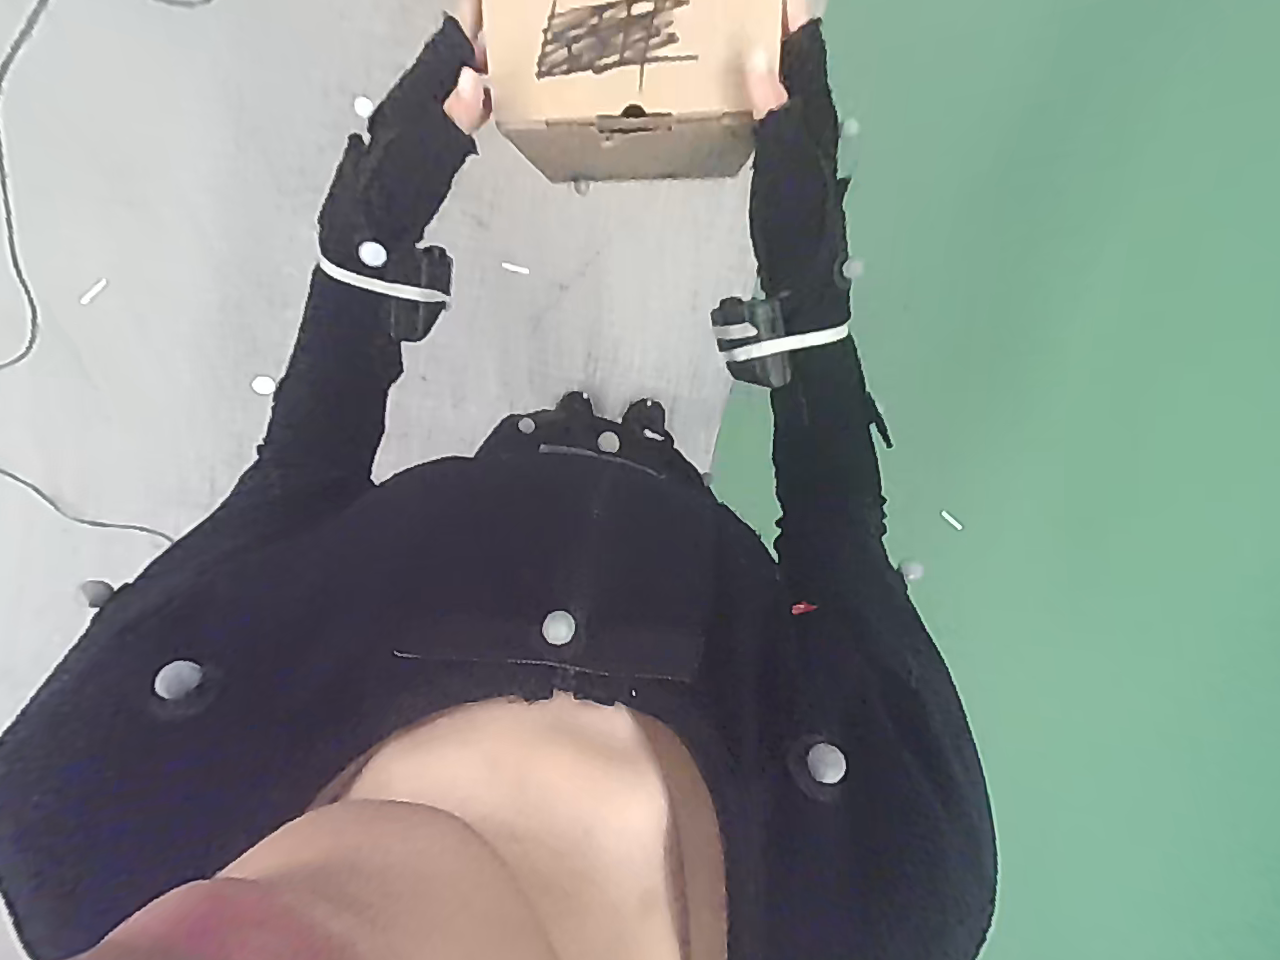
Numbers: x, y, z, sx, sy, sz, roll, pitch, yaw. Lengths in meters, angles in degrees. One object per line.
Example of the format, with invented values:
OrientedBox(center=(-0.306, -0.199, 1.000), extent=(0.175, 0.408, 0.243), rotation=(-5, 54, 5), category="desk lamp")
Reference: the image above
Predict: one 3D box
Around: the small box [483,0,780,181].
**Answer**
OrientedBox(center=(-0.001, -0.311, 0.362), extent=(0.168, 0.176, 0.179), rotation=(0, 106, 2), category="small box")
